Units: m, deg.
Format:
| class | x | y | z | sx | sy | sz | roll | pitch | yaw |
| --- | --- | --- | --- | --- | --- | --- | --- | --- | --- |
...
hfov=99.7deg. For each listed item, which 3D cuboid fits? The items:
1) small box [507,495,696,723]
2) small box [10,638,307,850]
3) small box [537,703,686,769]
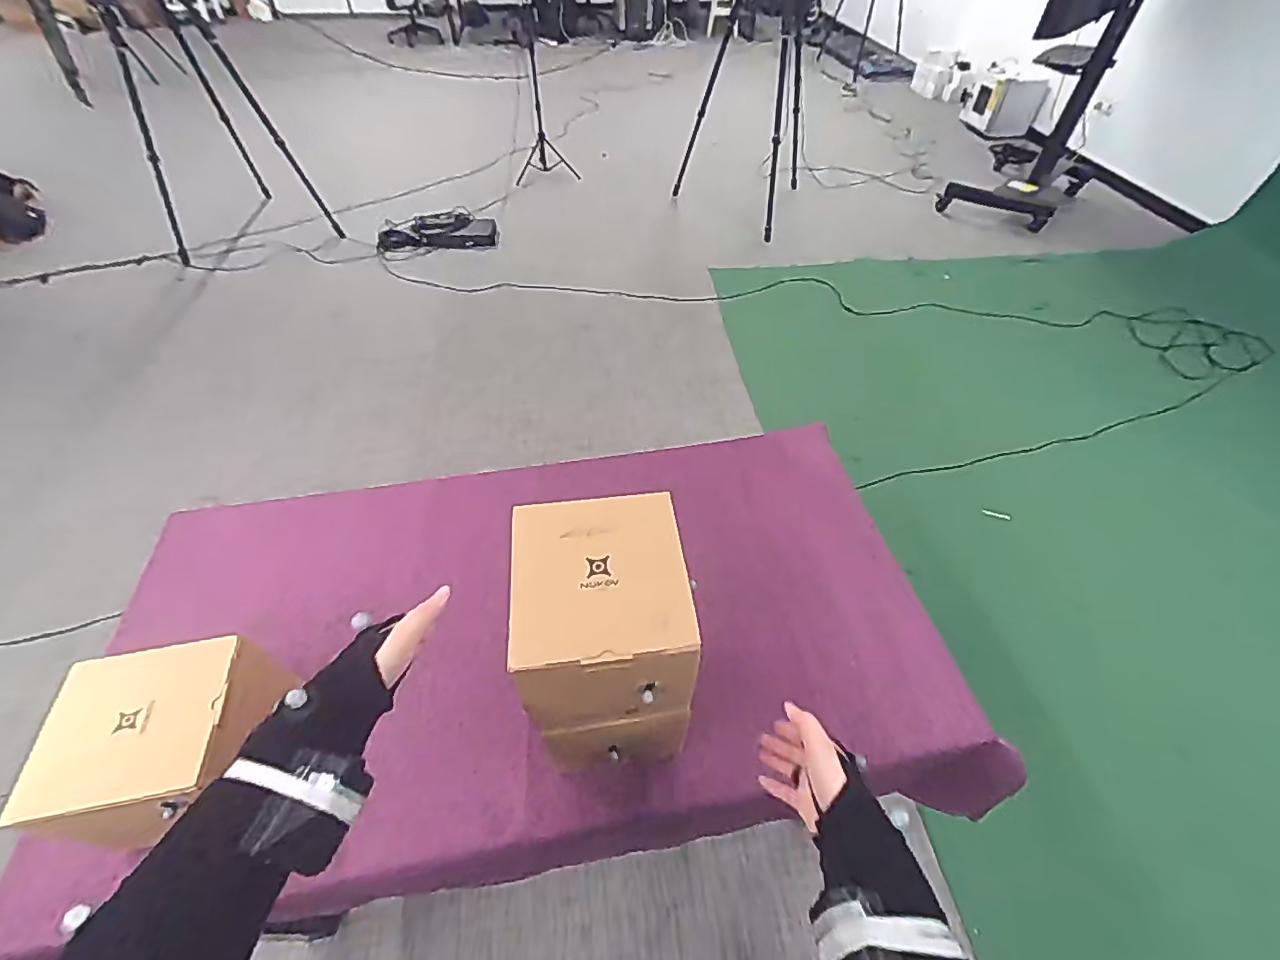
| class | x | y | z | sx | sy | sz | roll | pitch | yaw |
| --- | --- | --- | --- | --- | --- | --- | --- | --- | --- |
| small box | -0.039 | 0.141 | 0.570 | 0.168 | 0.176 | 0.179 | -5 | 48 | -5 |
| small box | -0.536 | 0.314 | 0.639 | 0.179 | 0.176 | 0.168 | -9 | 49 | -9 |
| small box | -0.039 | 0.252 | 0.690 | 0.168 | 0.176 | 0.179 | -6 | 49 | -6 |
